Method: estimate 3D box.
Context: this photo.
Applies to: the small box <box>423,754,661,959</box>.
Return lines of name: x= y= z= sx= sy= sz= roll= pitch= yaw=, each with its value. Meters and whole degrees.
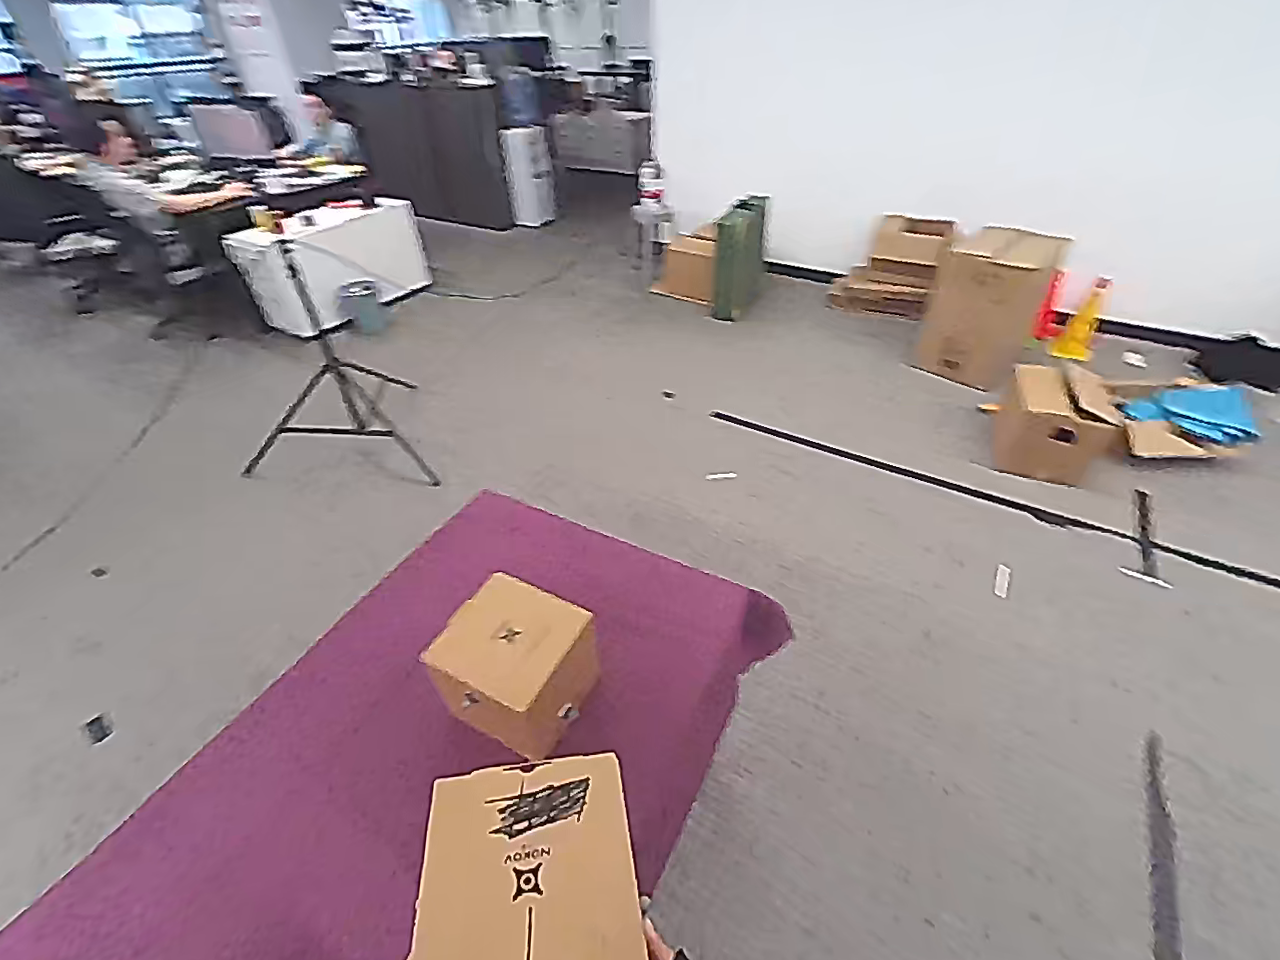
small box: x=-0.079 y=0.376 z=0.463 sx=0.168 sy=0.176 sz=0.179 roll=-4 pitch=28 yaw=-9

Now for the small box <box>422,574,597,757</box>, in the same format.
small box: x=-0.181 y=0.275 z=0.801 sx=0.179 sy=0.176 sz=0.168 roll=17 pitch=46 yaw=21
